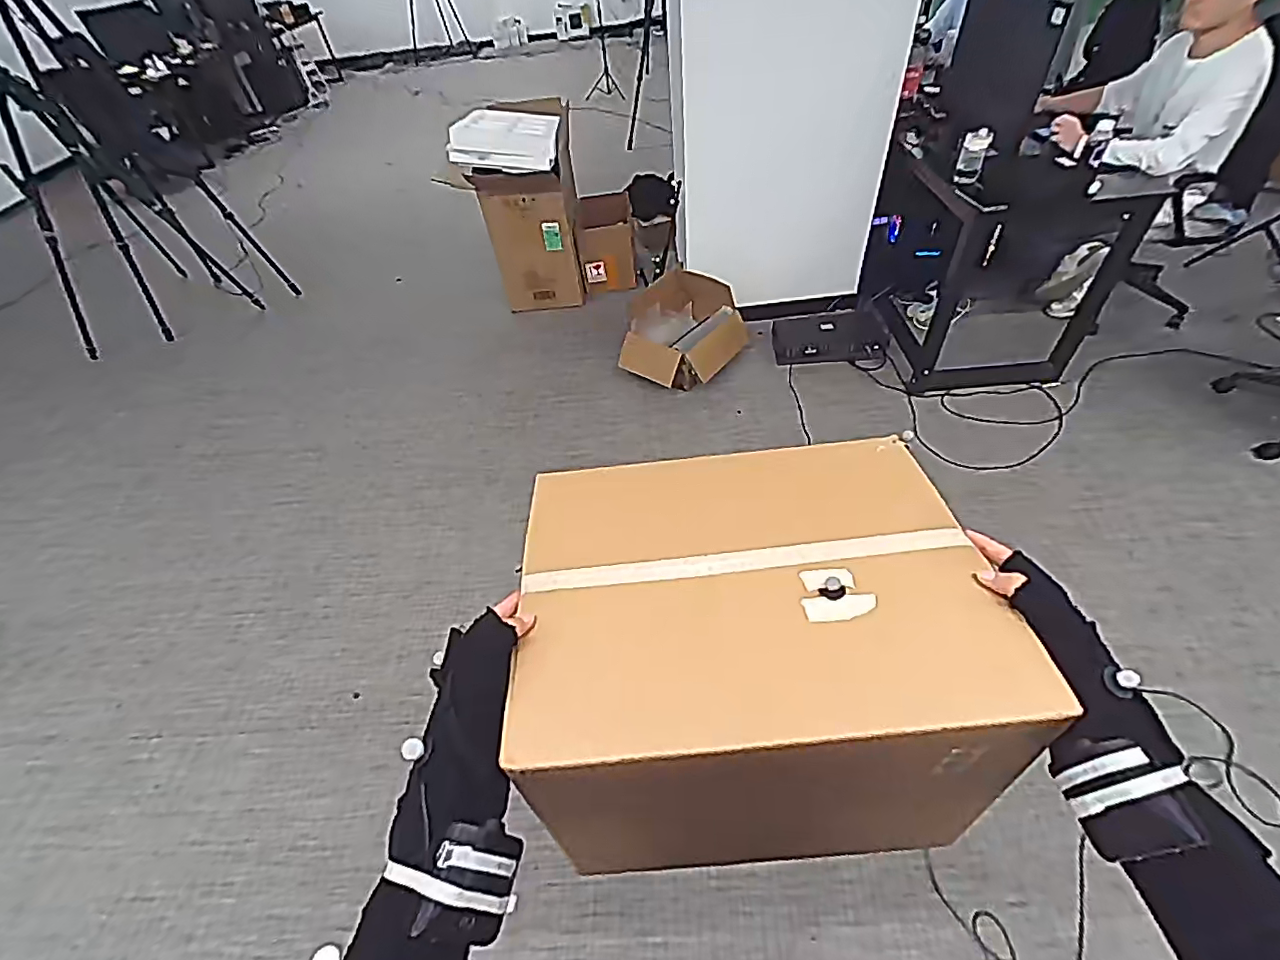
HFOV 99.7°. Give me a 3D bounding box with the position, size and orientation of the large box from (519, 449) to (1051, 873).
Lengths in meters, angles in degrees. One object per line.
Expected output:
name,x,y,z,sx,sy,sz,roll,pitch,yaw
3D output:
large box,0.109,0.198,0.603,0.408,0.320,0.320,-6,42,2
